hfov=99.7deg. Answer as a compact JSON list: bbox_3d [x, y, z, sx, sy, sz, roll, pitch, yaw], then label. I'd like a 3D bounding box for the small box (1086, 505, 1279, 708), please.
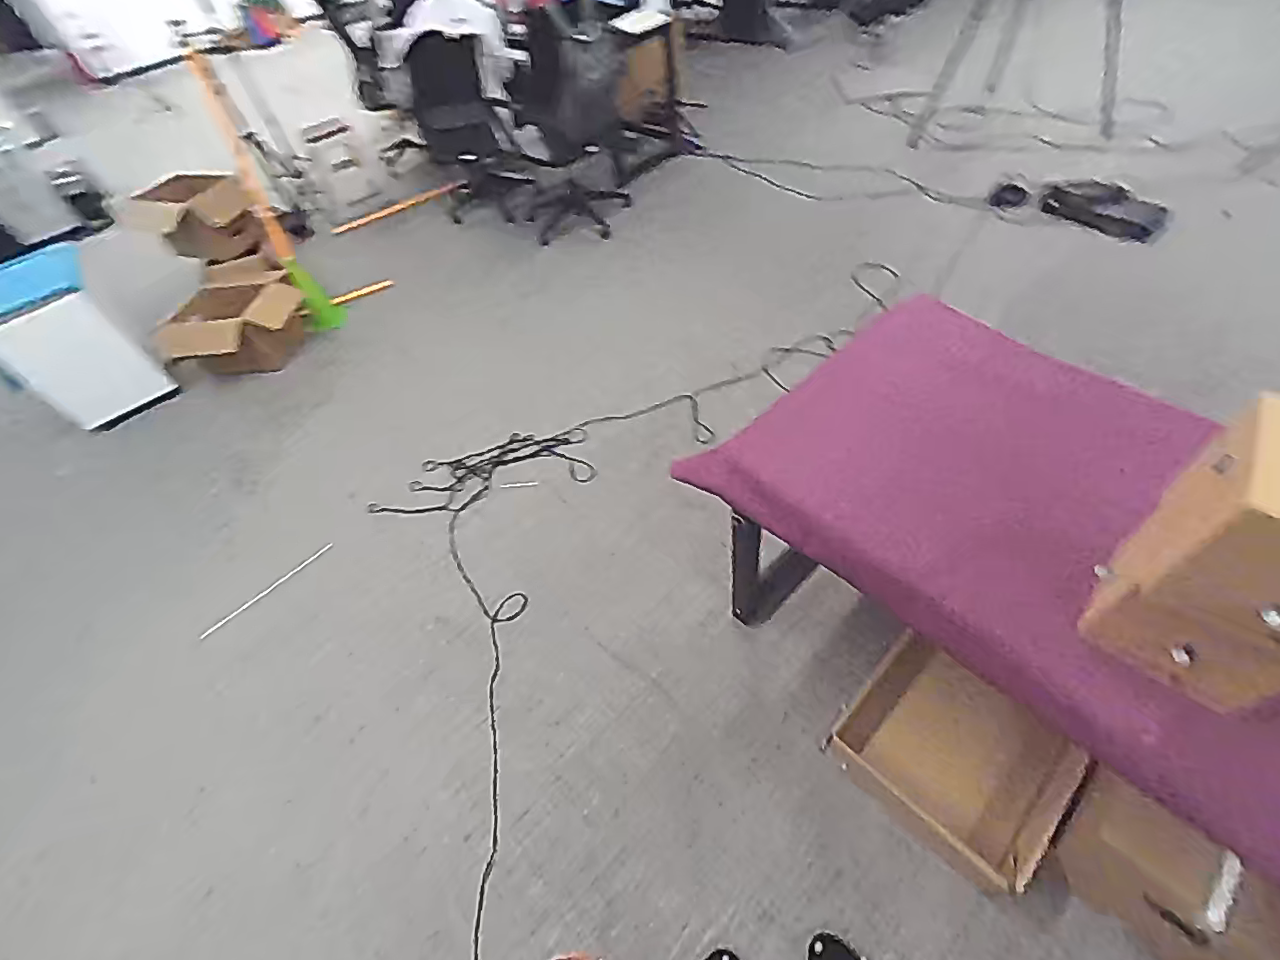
[{"bbox_3d":[0.697,0.144,0.663,0.168,0.176,0.179,34,63,31],"label":"small box"}]

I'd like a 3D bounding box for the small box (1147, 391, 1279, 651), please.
[{"bbox_3d":[0.654,0.049,0.532,0.168,0.176,0.179,27,60,29],"label":"small box"}]
